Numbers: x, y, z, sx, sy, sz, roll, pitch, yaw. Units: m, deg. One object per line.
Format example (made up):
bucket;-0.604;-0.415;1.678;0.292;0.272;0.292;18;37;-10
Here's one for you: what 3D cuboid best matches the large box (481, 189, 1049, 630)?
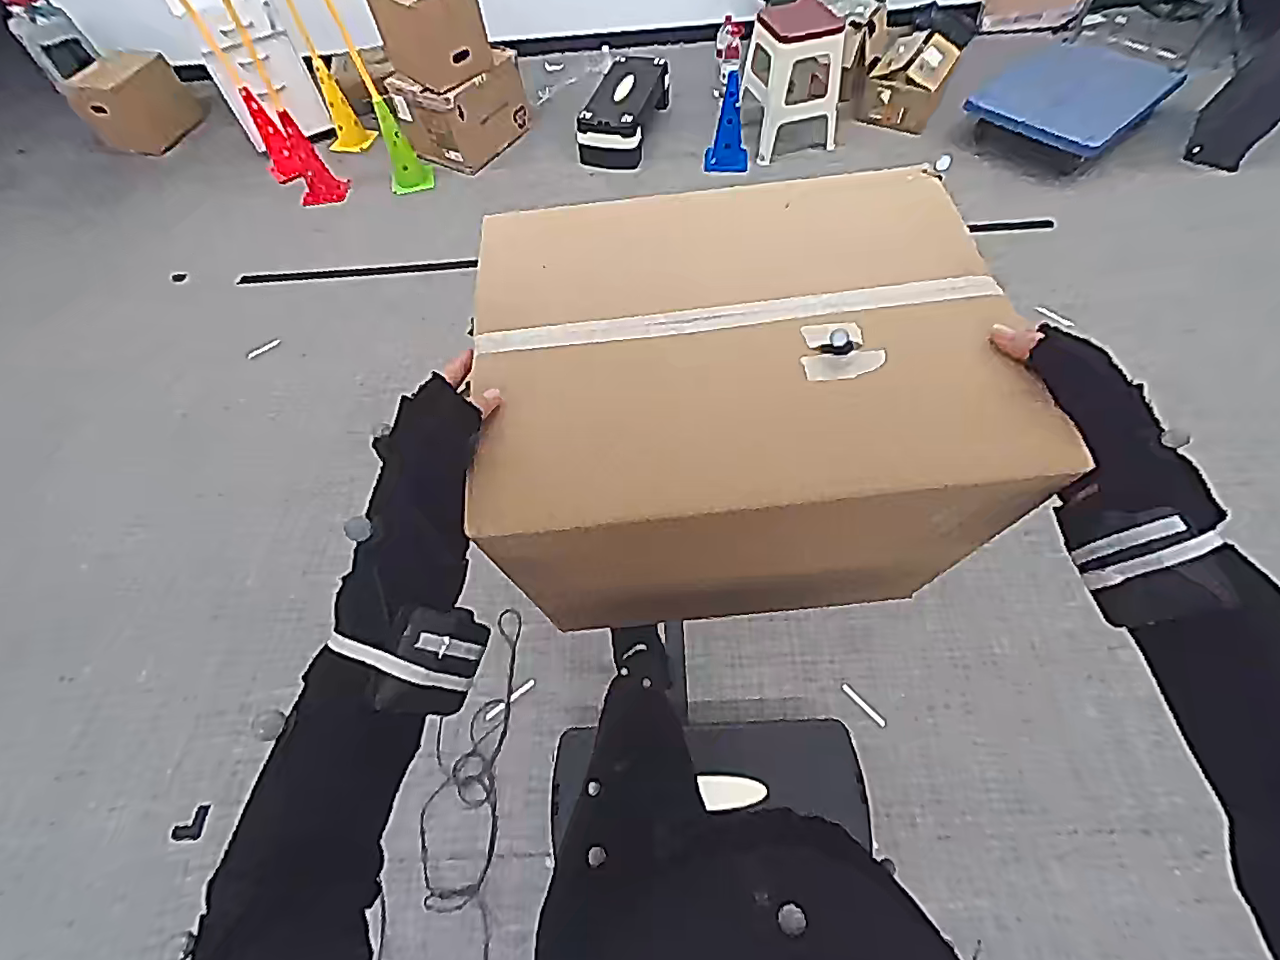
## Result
large box;0.079;-0.049;0.570;0.408;0.320;0.320;-6;62;1
